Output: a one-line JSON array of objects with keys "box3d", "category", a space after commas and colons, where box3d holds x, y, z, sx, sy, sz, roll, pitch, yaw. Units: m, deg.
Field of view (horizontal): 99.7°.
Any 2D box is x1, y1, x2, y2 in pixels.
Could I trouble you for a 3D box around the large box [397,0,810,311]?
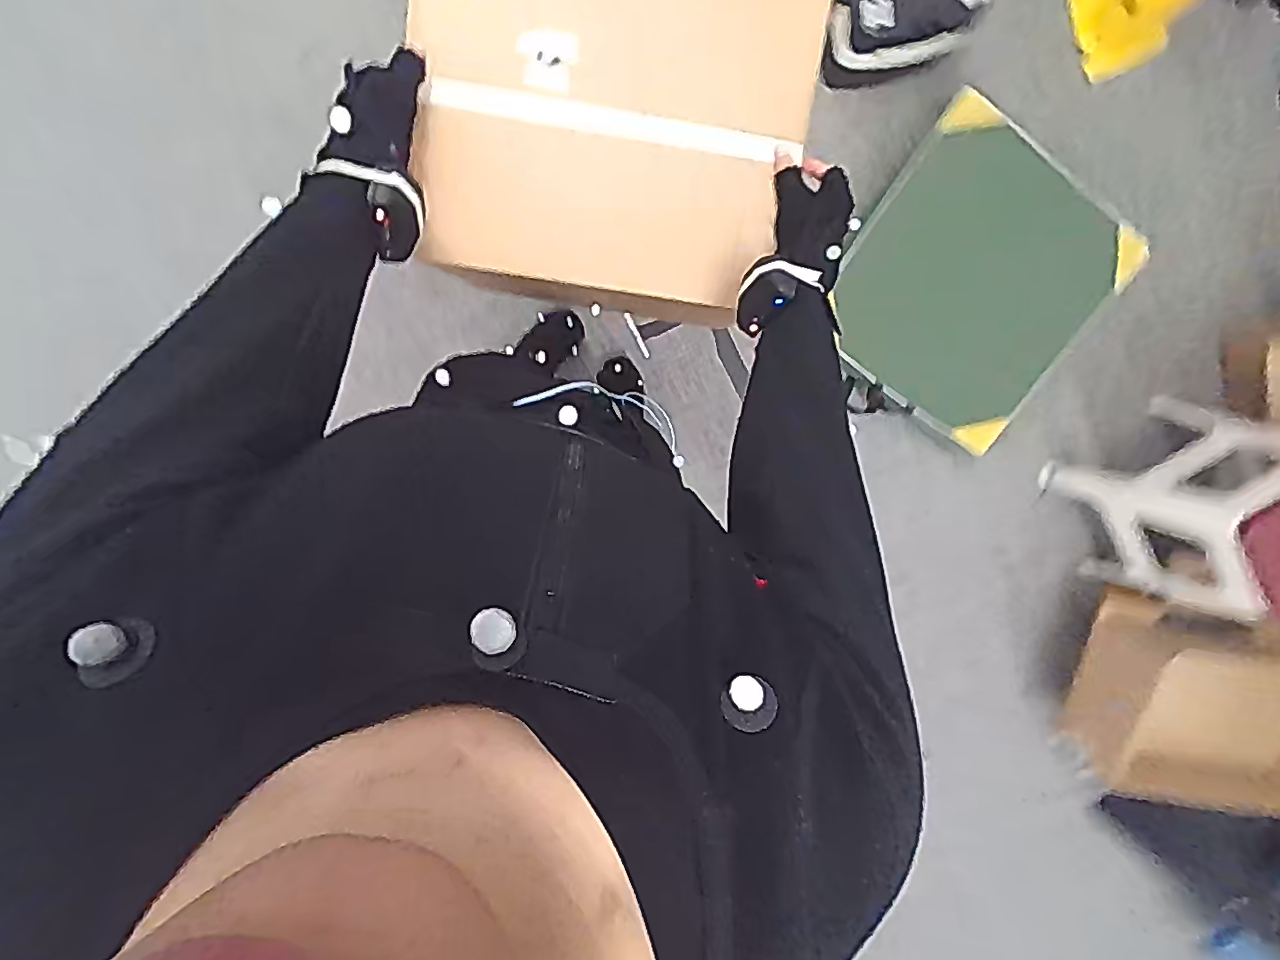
[{"box3d": [-0.045, -0.405, 0.696, 0.408, 0.320, 0.320, 7, 102, -3], "category": "large box"}]
